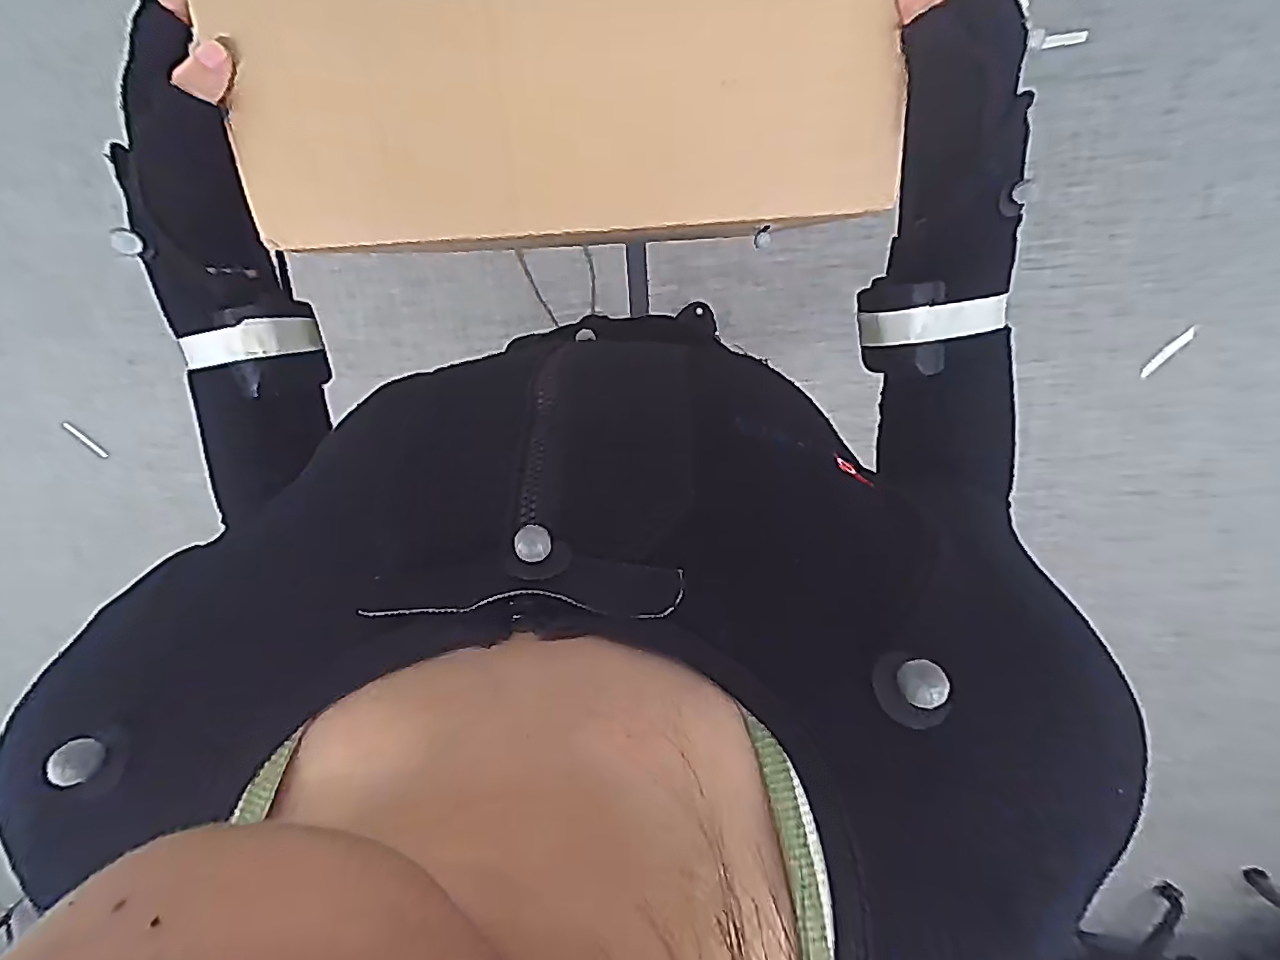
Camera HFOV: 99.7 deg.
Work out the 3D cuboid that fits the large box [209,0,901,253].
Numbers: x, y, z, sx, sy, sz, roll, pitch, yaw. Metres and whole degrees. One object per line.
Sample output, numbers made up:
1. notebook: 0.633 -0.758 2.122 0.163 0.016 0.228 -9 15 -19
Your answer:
1. large box: -0.049 -0.364 0.435 0.408 0.320 0.320 -3 112 0
